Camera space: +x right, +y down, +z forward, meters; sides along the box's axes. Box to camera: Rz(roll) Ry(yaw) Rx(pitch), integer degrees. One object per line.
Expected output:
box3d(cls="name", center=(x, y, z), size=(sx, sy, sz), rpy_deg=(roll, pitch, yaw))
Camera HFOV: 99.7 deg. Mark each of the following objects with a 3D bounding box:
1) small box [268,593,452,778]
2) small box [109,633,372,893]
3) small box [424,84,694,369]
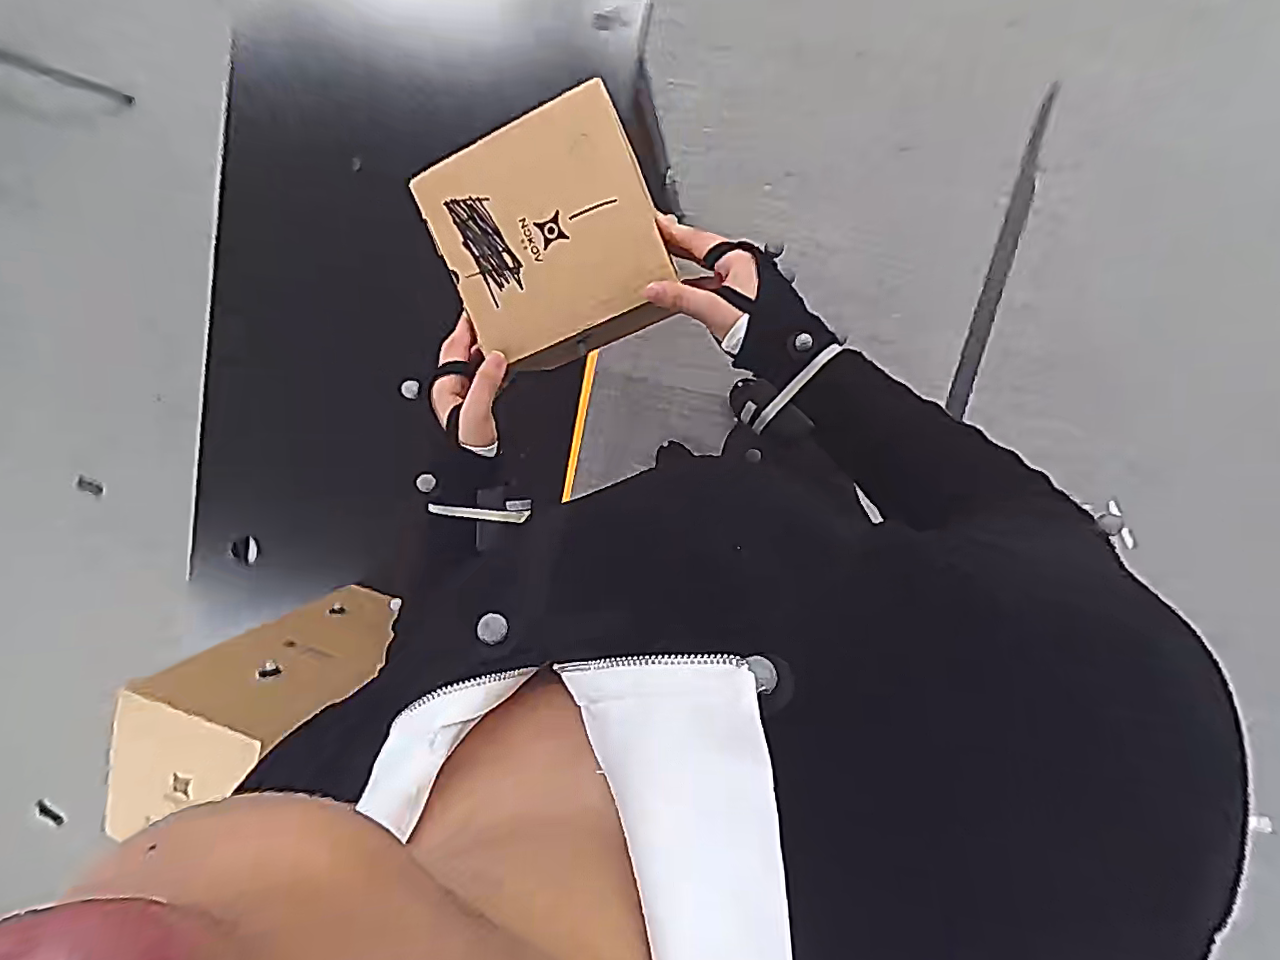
box3d(cls="small box", center=(-0.401, 0.277, 0.774), size=(0.179, 0.176, 0.168), rpy_deg=(15, 100, 7))
box3d(cls="small box", center=(-0.436, 0.299, 0.613), size=(0.168, 0.176, 0.179), rpy_deg=(16, 100, 8))
box3d(cls="small box", center=(-0.058, -0.211, 0.508), size=(0.179, 0.176, 0.168), rpy_deg=(-19, 99, 12))
